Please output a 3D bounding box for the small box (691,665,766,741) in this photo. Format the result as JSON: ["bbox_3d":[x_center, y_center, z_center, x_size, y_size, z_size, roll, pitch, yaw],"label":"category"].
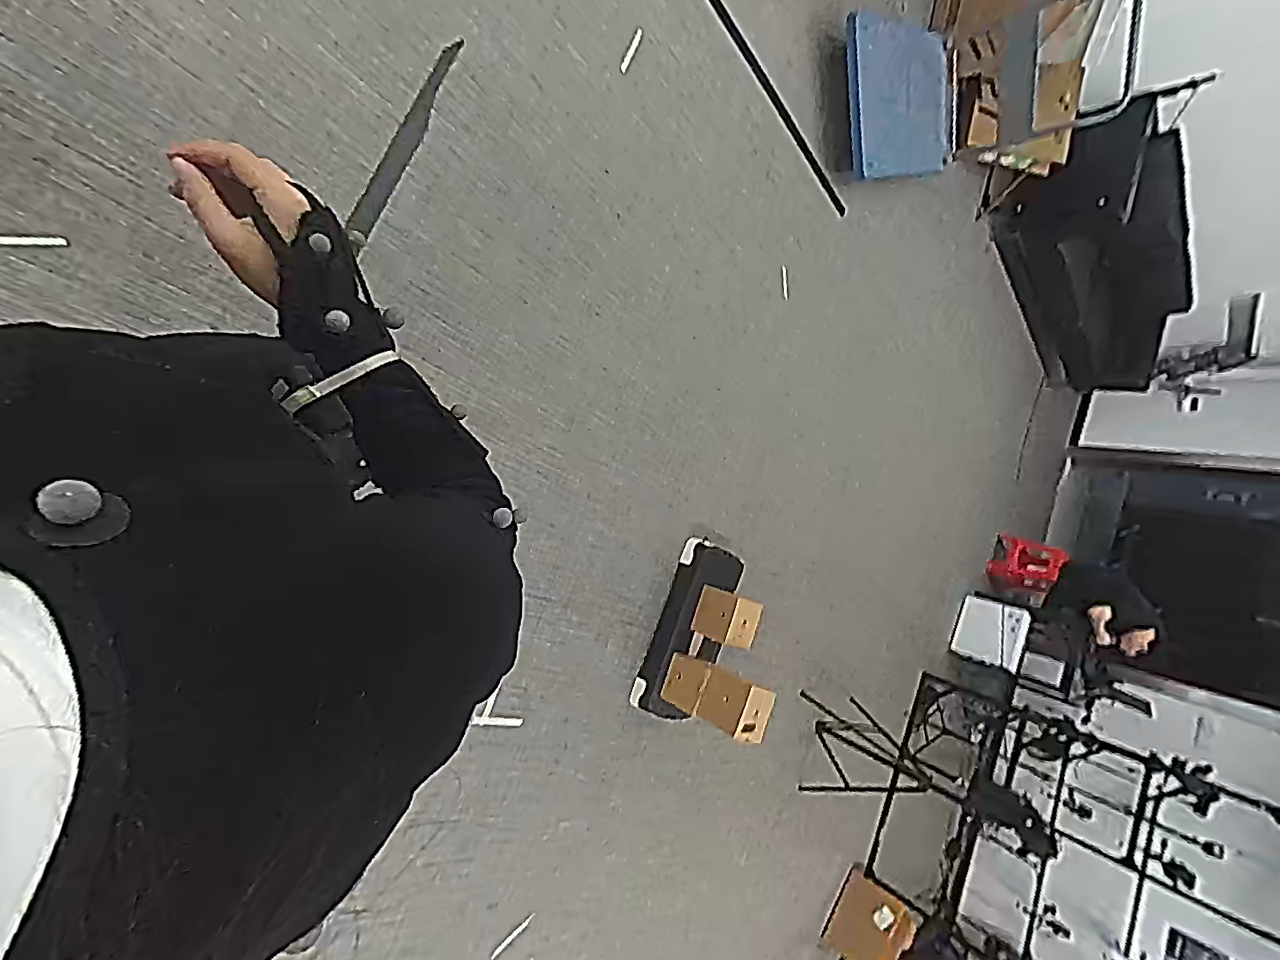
[{"bbox_3d":[0.299,0.765,1.858,0.168,0.176,0.179,34,74,-40],"label":"small box"}]

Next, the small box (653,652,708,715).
[{"bbox_3d":[0.179,0.742,1.969,0.179,0.176,0.168,27,80,-41],"label":"small box"}]
